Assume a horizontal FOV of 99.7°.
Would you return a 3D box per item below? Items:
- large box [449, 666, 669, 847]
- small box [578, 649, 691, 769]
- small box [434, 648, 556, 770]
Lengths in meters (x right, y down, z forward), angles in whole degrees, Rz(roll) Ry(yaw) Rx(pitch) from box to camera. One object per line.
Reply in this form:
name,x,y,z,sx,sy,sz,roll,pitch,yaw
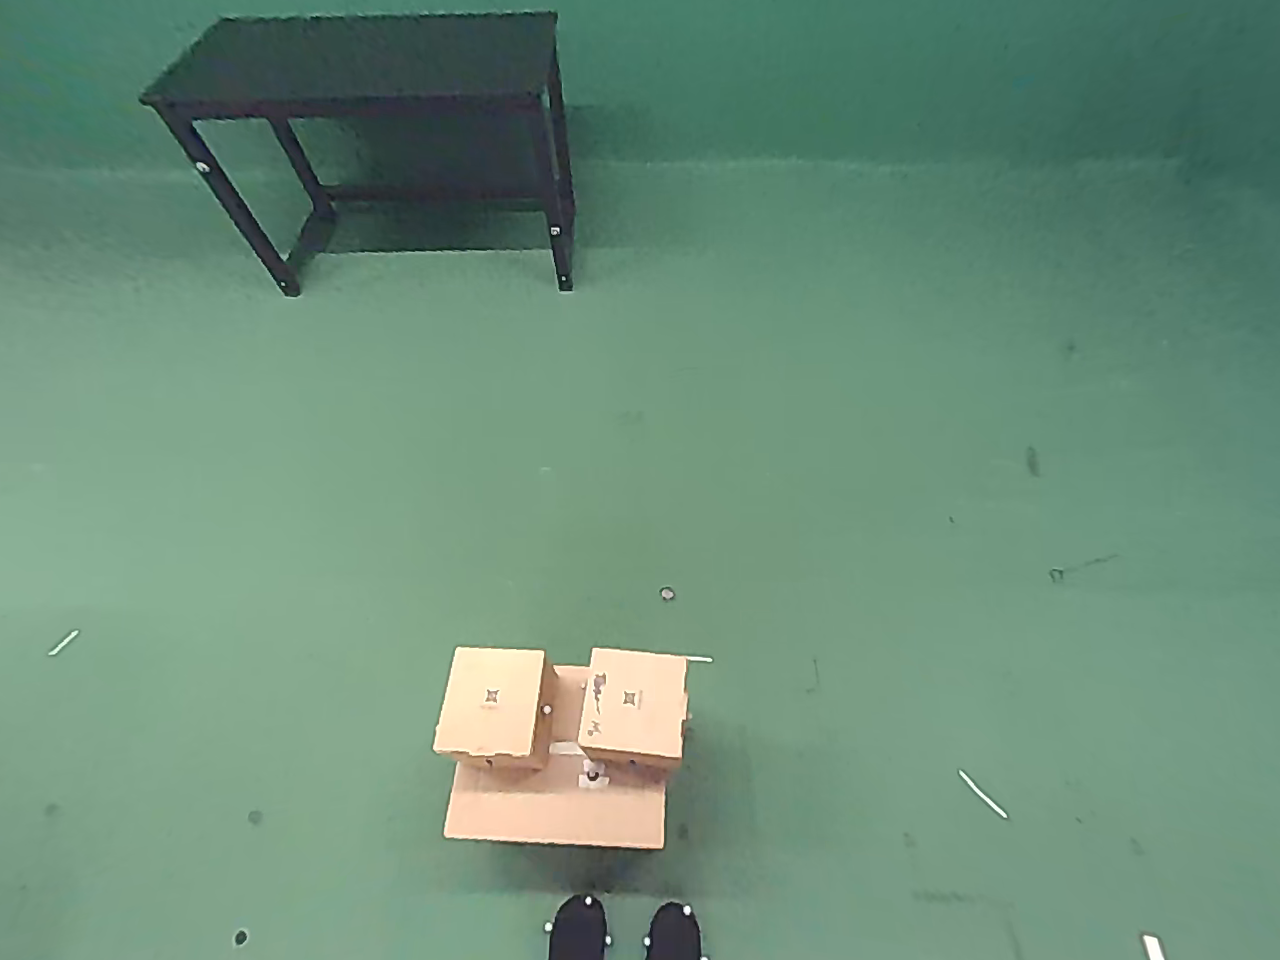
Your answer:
large box,-0.143,0.599,1.168,0.408,0.320,0.320,1,58,2
small box,-0.005,0.421,0.986,0.179,0.176,0.168,5,57,5
small box,-0.254,0.423,0.995,0.168,0.176,0.179,2,57,2
